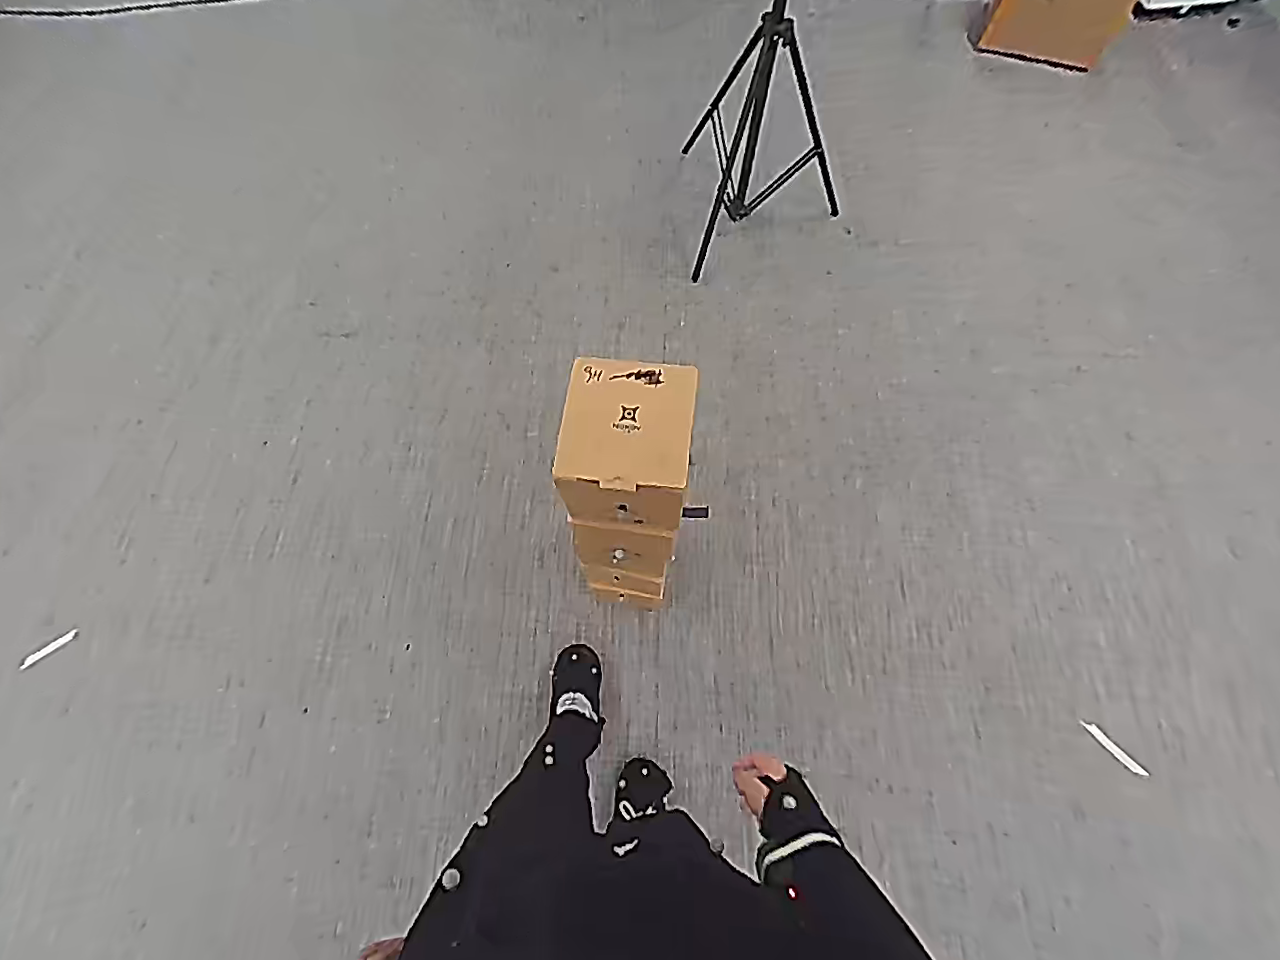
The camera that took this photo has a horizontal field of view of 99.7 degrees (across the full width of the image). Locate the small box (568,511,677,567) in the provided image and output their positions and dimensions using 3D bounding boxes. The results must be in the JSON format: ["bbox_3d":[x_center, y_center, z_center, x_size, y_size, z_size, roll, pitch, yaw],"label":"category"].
[{"bbox_3d":[-0.015,0.035,0.908,0.168,0.176,0.179,8,70,5],"label":"small box"}]

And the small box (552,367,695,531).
[{"bbox_3d":[-0.015,-0.035,0.759,0.168,0.176,0.179,6,70,3],"label":"small box"}]

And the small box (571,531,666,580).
[{"bbox_3d":[-0.026,0.092,1.063,0.179,0.176,0.168,9,69,4],"label":"small box"}]

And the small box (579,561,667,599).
[{"bbox_3d":[-0.025,0.160,1.210,0.179,0.176,0.168,11,69,5],"label":"small box"}]

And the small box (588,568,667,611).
[{"bbox_3d":[-0.024,0.229,1.359,0.179,0.176,0.168,8,68,4],"label":"small box"}]
